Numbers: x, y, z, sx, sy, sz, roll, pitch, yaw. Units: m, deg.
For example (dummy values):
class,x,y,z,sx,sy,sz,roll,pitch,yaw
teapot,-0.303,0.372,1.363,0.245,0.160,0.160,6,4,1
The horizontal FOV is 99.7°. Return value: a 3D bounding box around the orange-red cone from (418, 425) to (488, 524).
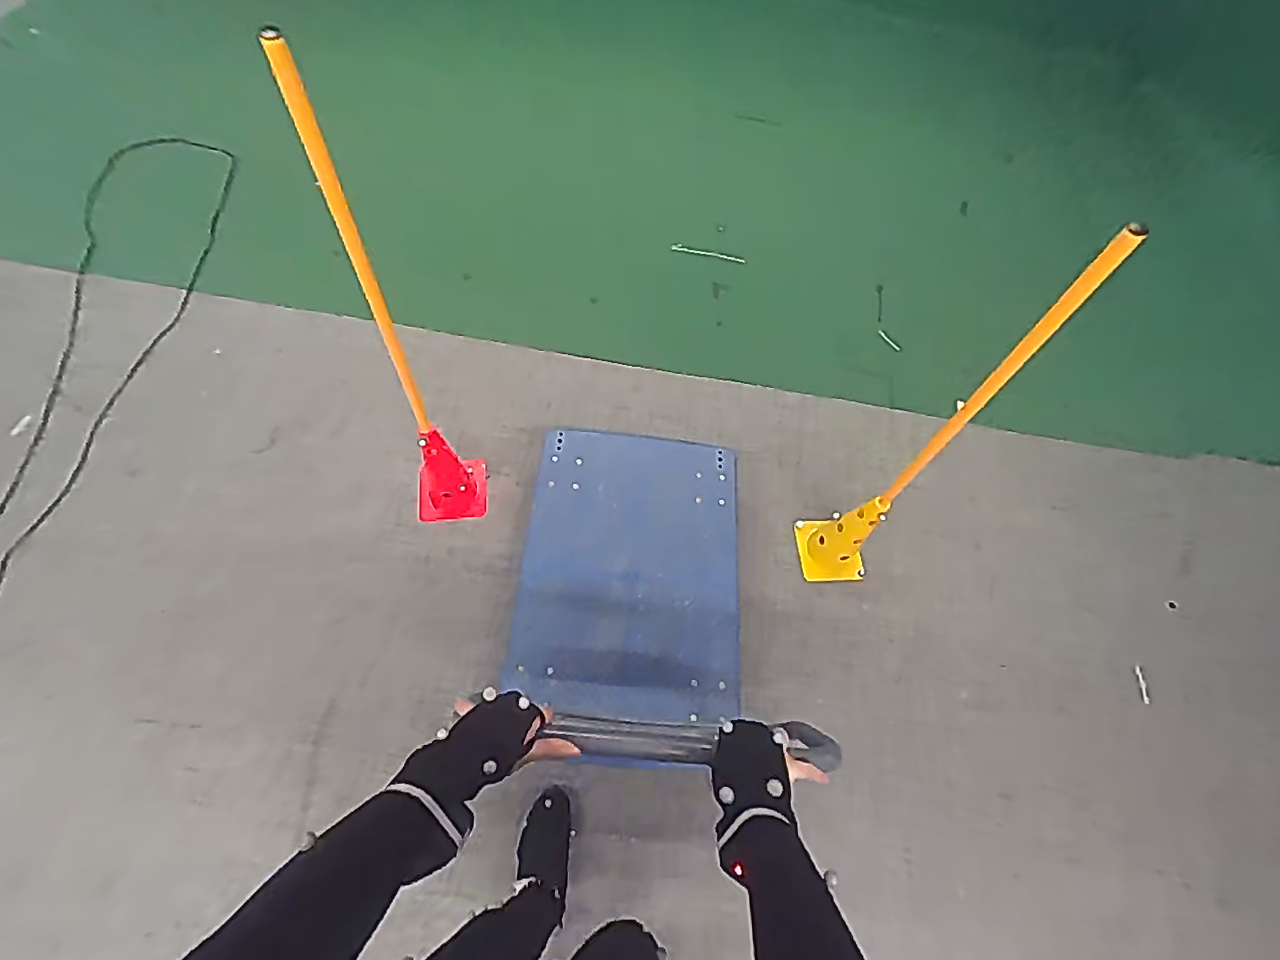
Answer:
class,x,y,z,sx,sy,sz,roll,pitch,yaw
orange-red cone,-0.556,-0.040,1.510,0.199,0.360,0.198,-4,63,-7
